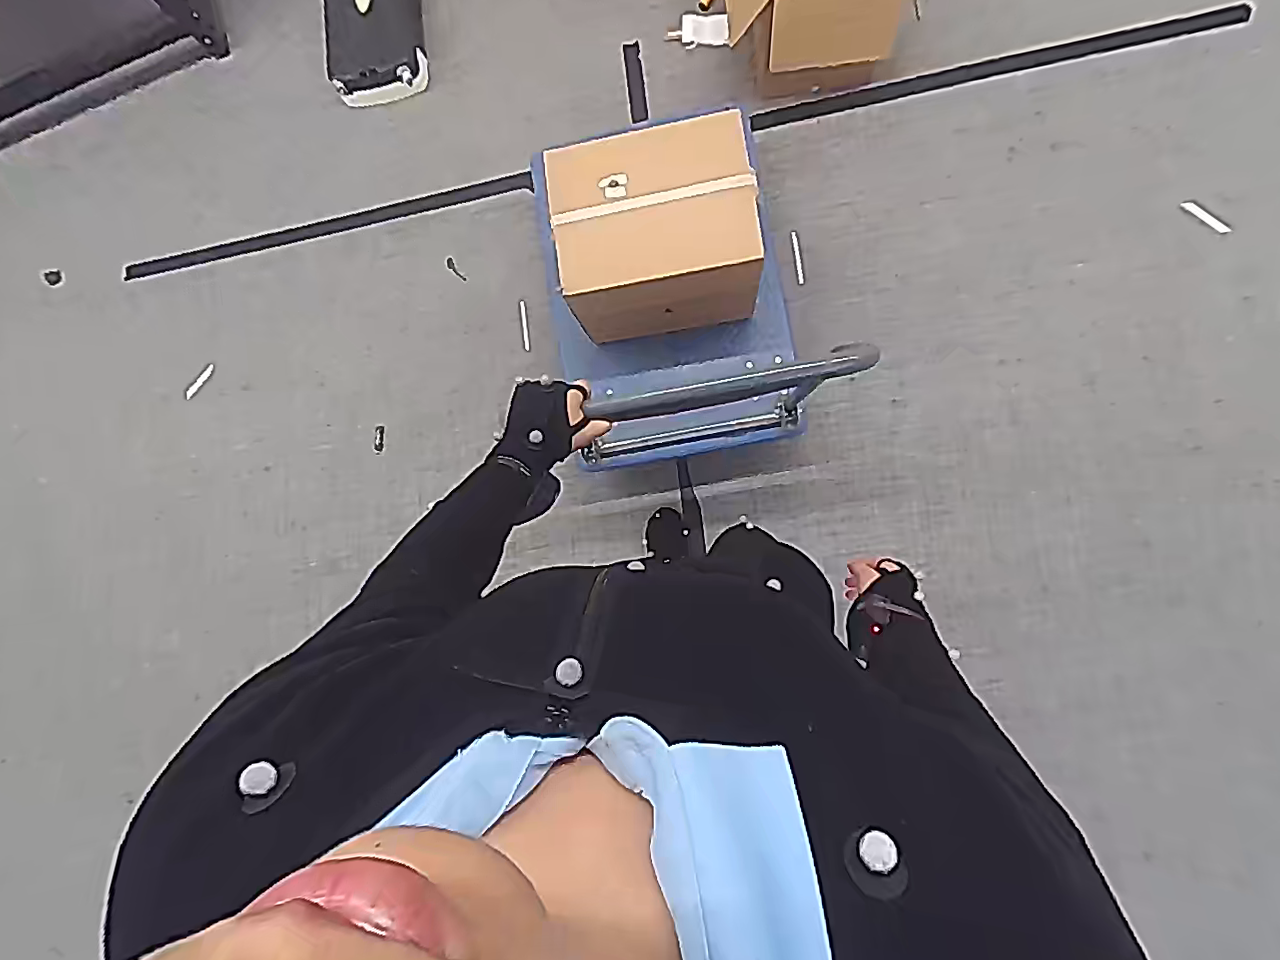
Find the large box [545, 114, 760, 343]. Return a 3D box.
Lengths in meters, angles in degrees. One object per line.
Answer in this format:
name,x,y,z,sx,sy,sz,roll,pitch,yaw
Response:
large box,0.039,-0.537,1.230,0.408,0.320,0.320,-9,84,7
